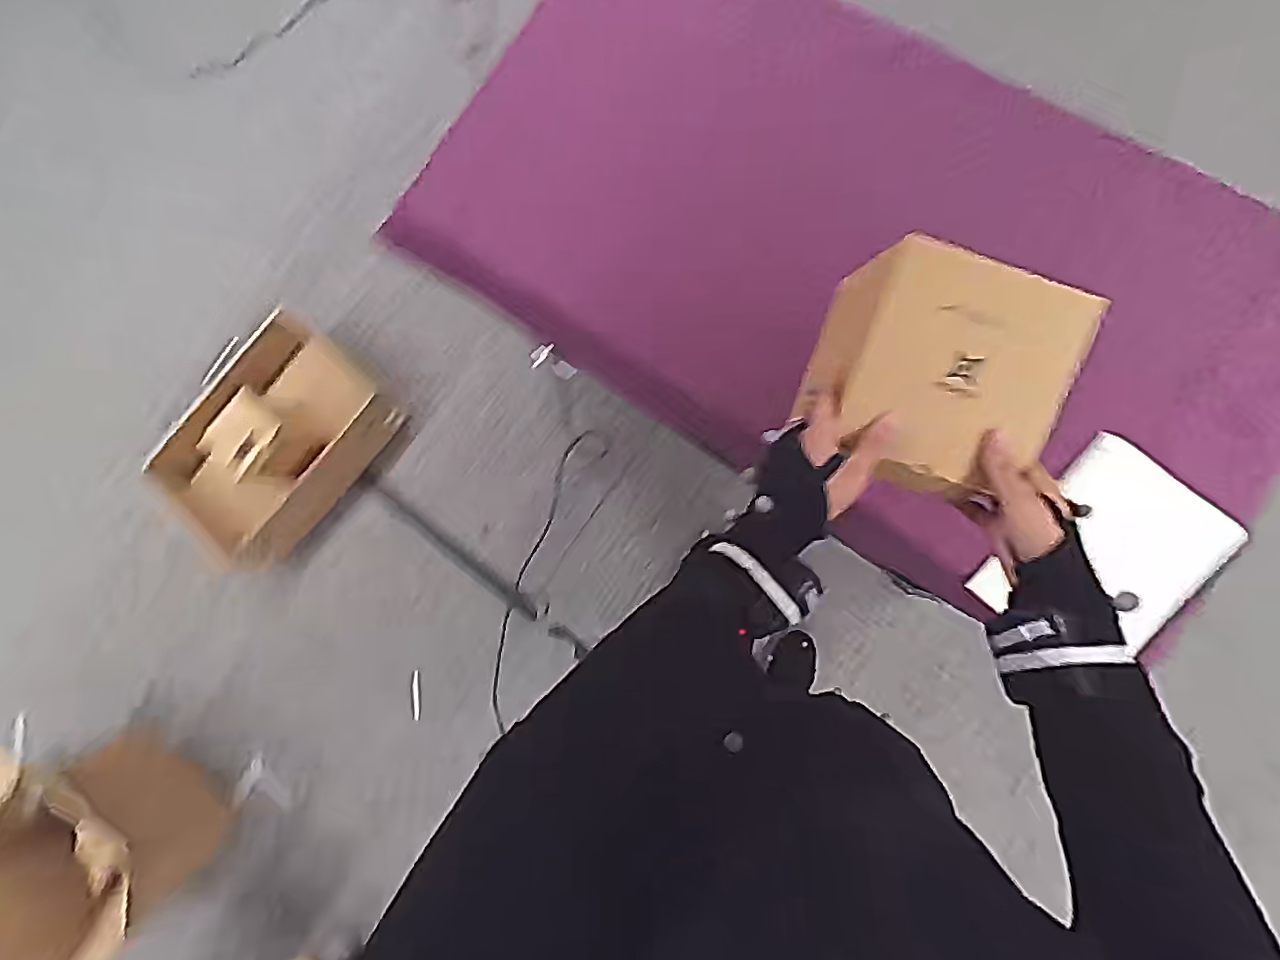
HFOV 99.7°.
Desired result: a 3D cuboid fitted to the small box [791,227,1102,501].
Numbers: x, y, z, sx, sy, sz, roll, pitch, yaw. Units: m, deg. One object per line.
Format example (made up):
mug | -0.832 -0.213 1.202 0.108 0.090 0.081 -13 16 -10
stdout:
small box | 0.257 -0.100 0.507 0.168 0.176 0.179 19 98 -1
